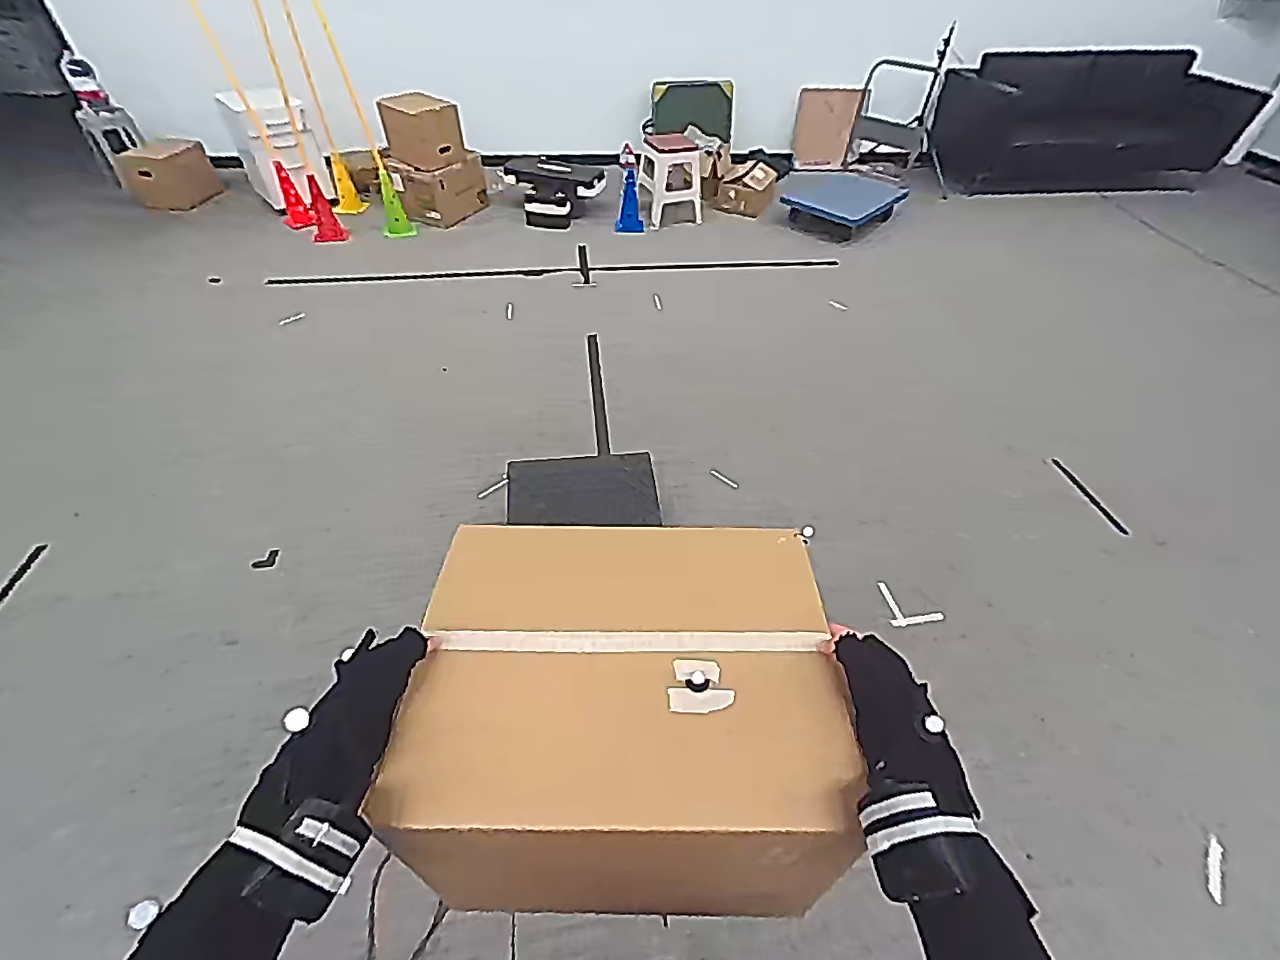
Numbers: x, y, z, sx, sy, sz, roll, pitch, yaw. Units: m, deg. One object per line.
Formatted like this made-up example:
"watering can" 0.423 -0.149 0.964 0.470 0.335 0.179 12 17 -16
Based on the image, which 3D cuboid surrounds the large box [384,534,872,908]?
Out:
"large box" -0.012 0.278 0.640 0.408 0.320 0.320 1 42 0
